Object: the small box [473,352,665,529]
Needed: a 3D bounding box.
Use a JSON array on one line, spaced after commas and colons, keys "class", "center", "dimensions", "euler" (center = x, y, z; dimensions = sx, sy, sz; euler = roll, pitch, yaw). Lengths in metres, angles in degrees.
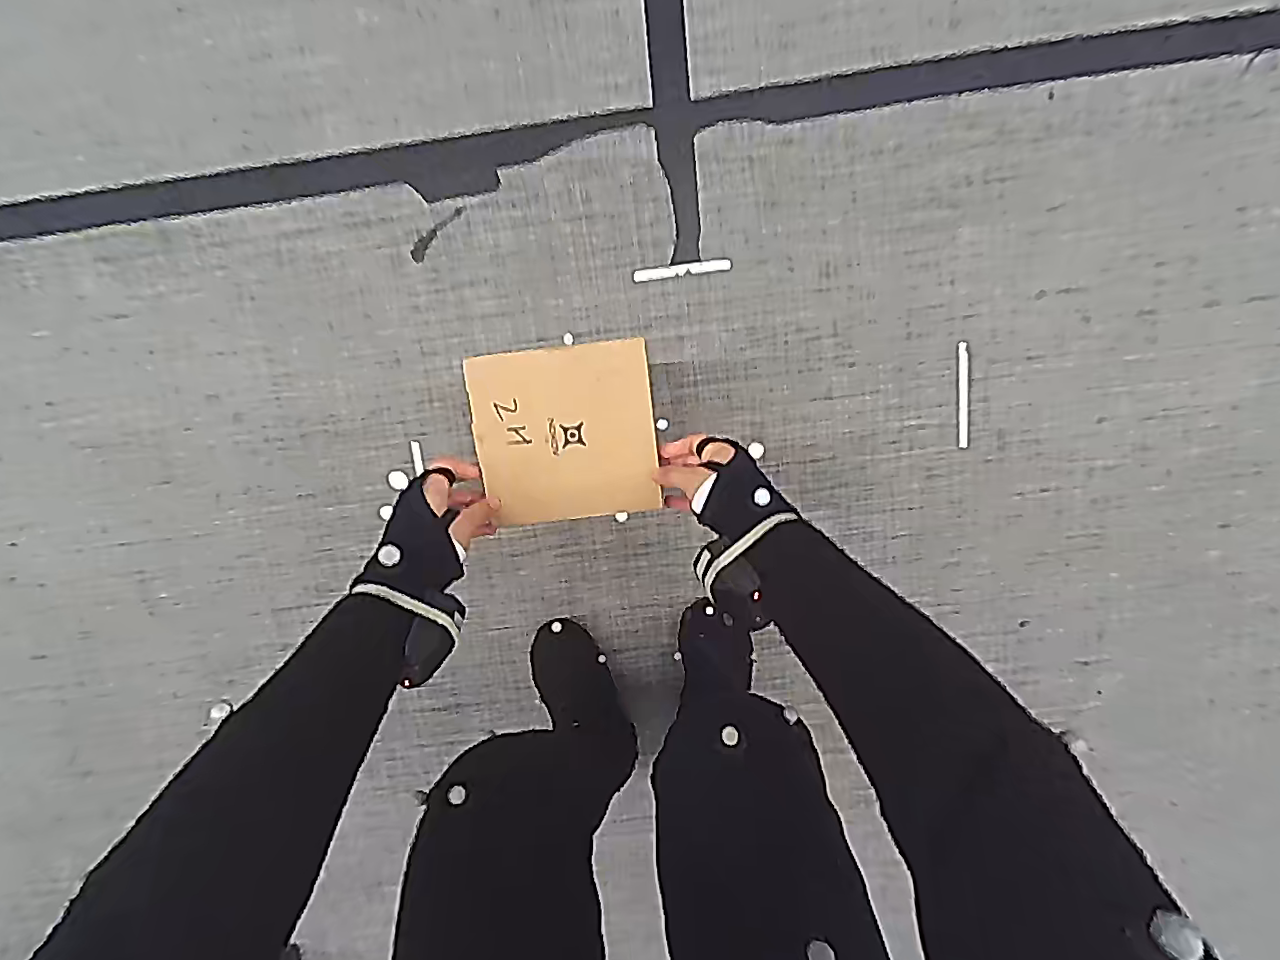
[{"class": "small box", "center": [-0.069, -0.050, 0.612], "dimensions": [0.179, 0.176, 0.168], "euler": [-6, 98, 2]}]
